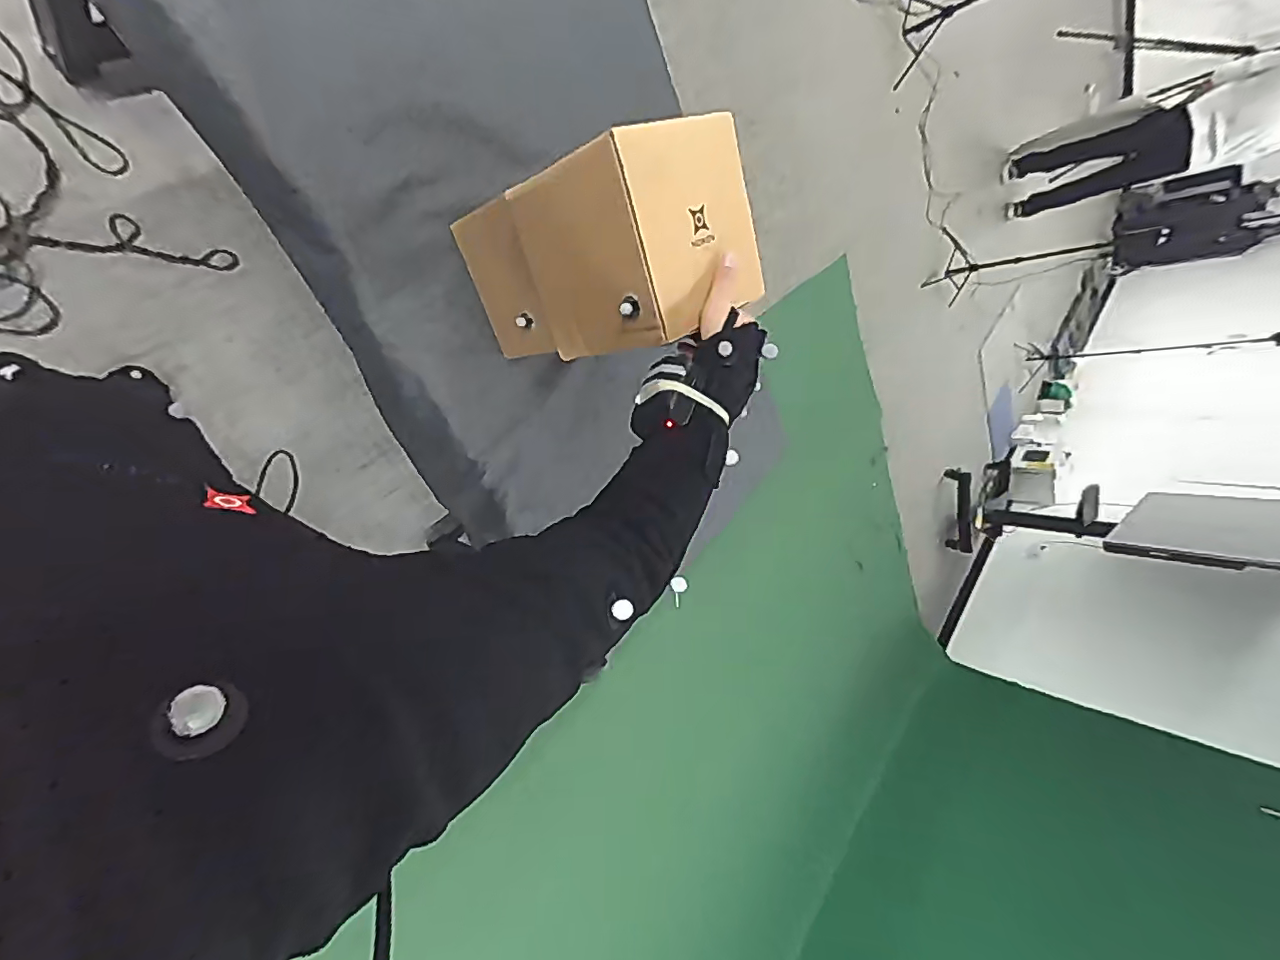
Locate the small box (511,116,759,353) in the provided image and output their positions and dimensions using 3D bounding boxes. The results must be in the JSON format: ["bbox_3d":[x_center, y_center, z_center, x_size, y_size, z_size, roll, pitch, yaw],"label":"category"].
[{"bbox_3d":[-0.004,-0.242,0.557,0.168,0.176,0.179,-35,120,-36],"label":"small box"}]

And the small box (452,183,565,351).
[{"bbox_3d":[-0.103,-0.272,0.684,0.168,0.176,0.179,-37,119,-35],"label":"small box"}]
